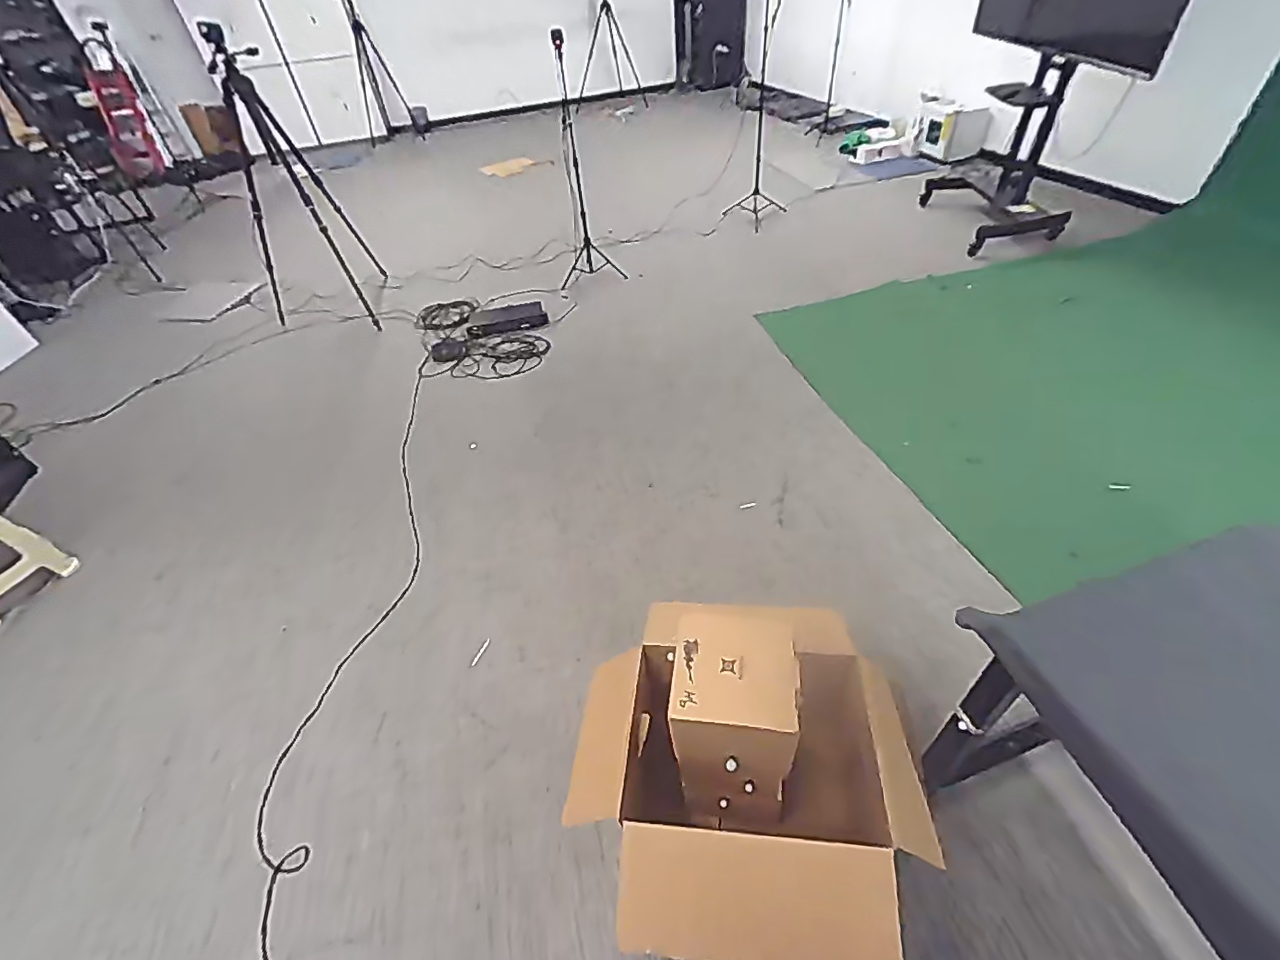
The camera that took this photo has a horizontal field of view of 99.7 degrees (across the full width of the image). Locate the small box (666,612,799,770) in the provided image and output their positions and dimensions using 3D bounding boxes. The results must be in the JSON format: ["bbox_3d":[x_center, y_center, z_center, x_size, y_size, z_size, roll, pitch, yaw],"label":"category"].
[{"bbox_3d":[0.142,0.324,0.827,0.179,0.176,0.168,3,46,11],"label":"small box"}]
